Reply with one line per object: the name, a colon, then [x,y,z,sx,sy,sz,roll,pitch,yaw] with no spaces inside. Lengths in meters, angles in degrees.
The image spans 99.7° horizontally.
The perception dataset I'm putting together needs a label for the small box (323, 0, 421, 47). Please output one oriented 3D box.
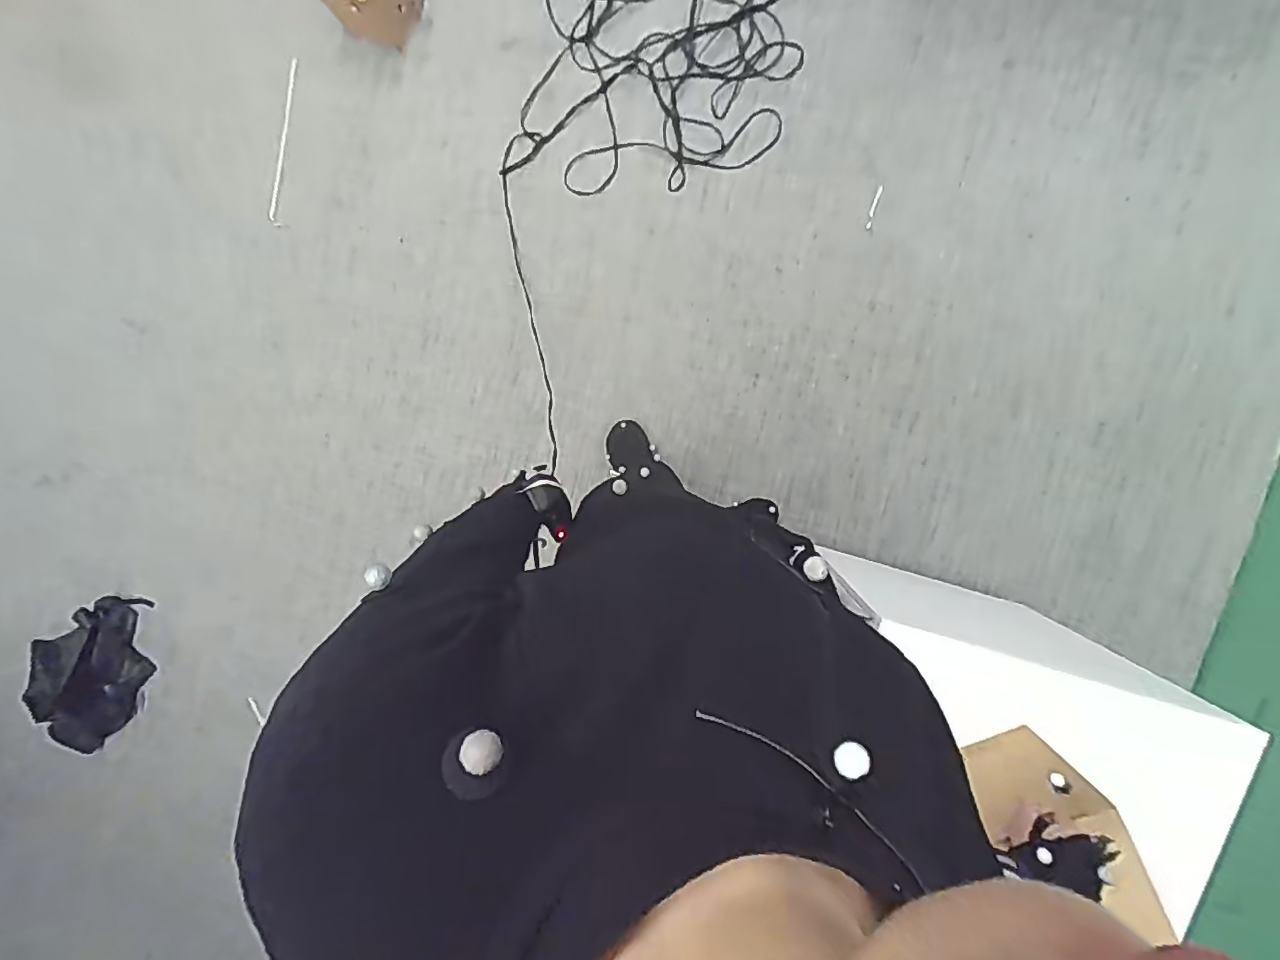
small box: [-0.655,-1.185,1.282,0.179,0.176,0.168,24,96,3]
